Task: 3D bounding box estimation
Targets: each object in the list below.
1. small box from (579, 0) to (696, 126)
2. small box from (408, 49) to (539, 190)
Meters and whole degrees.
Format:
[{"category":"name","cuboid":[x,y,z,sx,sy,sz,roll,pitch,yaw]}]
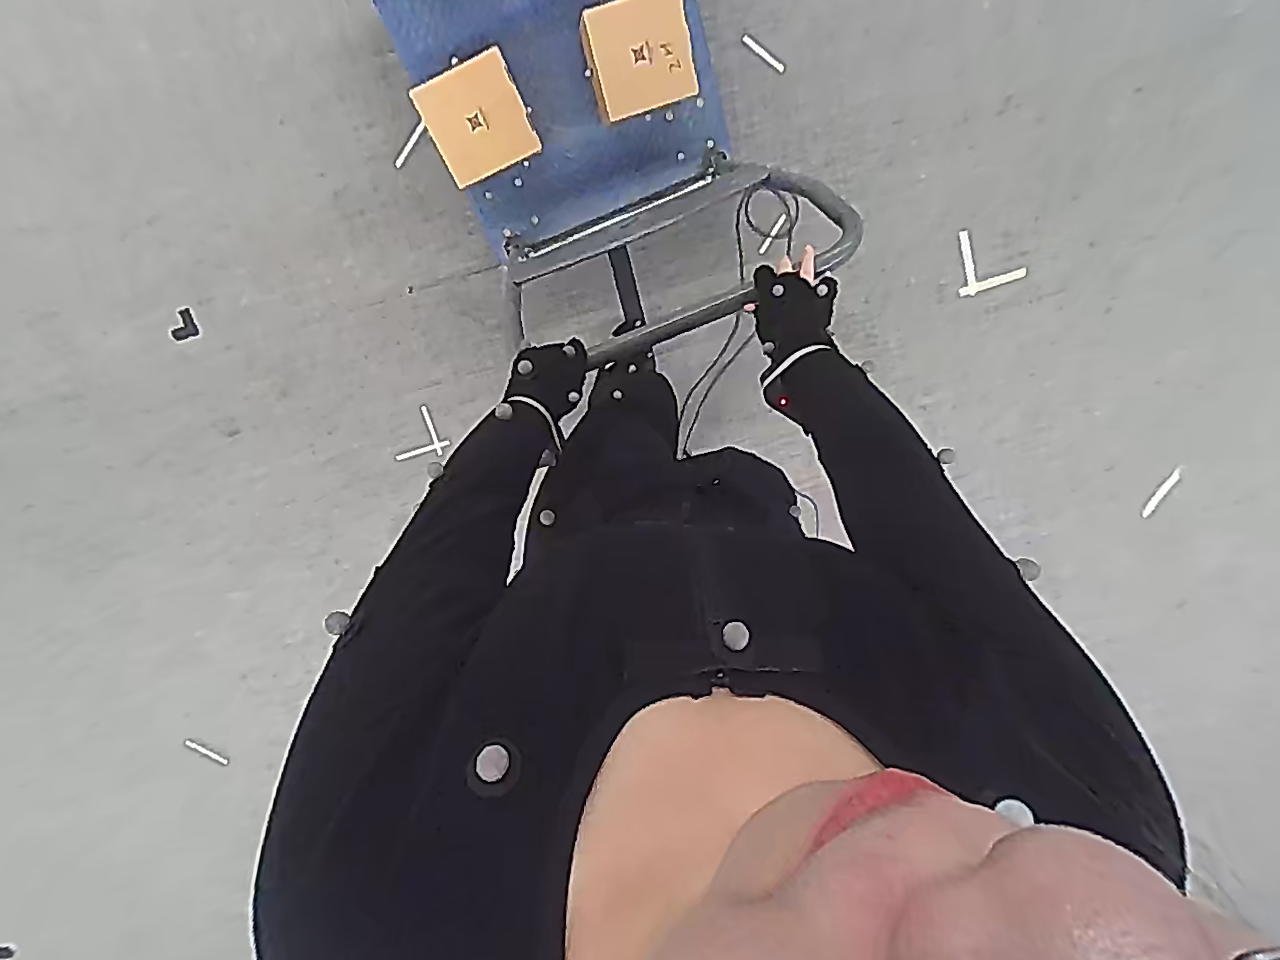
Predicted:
[{"category":"small box","cuboid":[-0.009,-0.788,1.022,0.179,0.176,0.168,-17,122,1]},{"category":"small box","cuboid":[-0.306,-0.677,1.037,0.179,0.176,0.168,-25,121,4]}]
